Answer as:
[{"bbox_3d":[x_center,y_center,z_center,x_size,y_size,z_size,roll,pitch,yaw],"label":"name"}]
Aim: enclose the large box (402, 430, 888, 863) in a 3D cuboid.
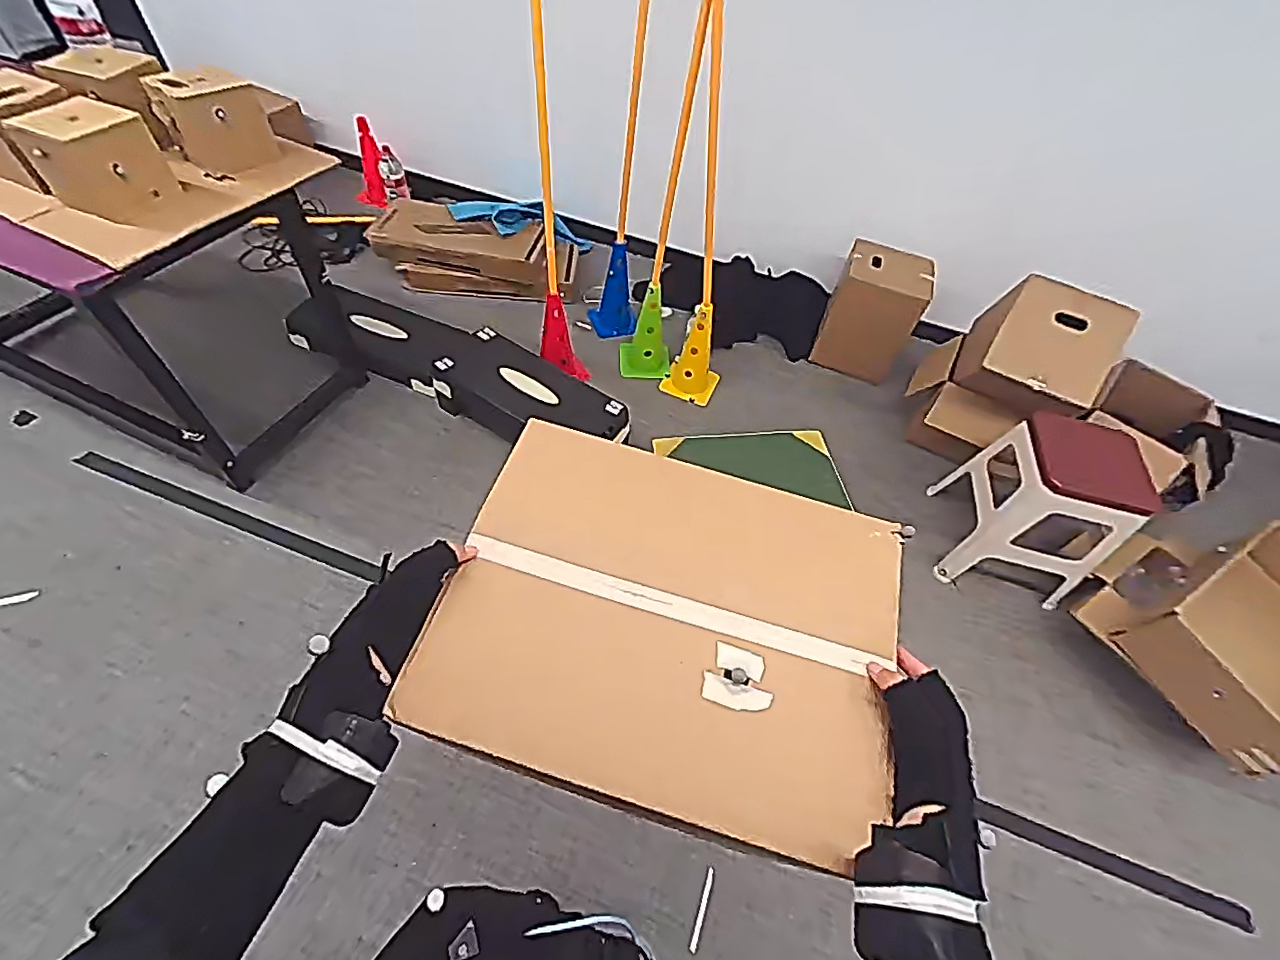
[{"bbox_3d":[0.016,0.196,0.631,0.408,0.320,0.320,17,59,3],"label":"large box"}]
